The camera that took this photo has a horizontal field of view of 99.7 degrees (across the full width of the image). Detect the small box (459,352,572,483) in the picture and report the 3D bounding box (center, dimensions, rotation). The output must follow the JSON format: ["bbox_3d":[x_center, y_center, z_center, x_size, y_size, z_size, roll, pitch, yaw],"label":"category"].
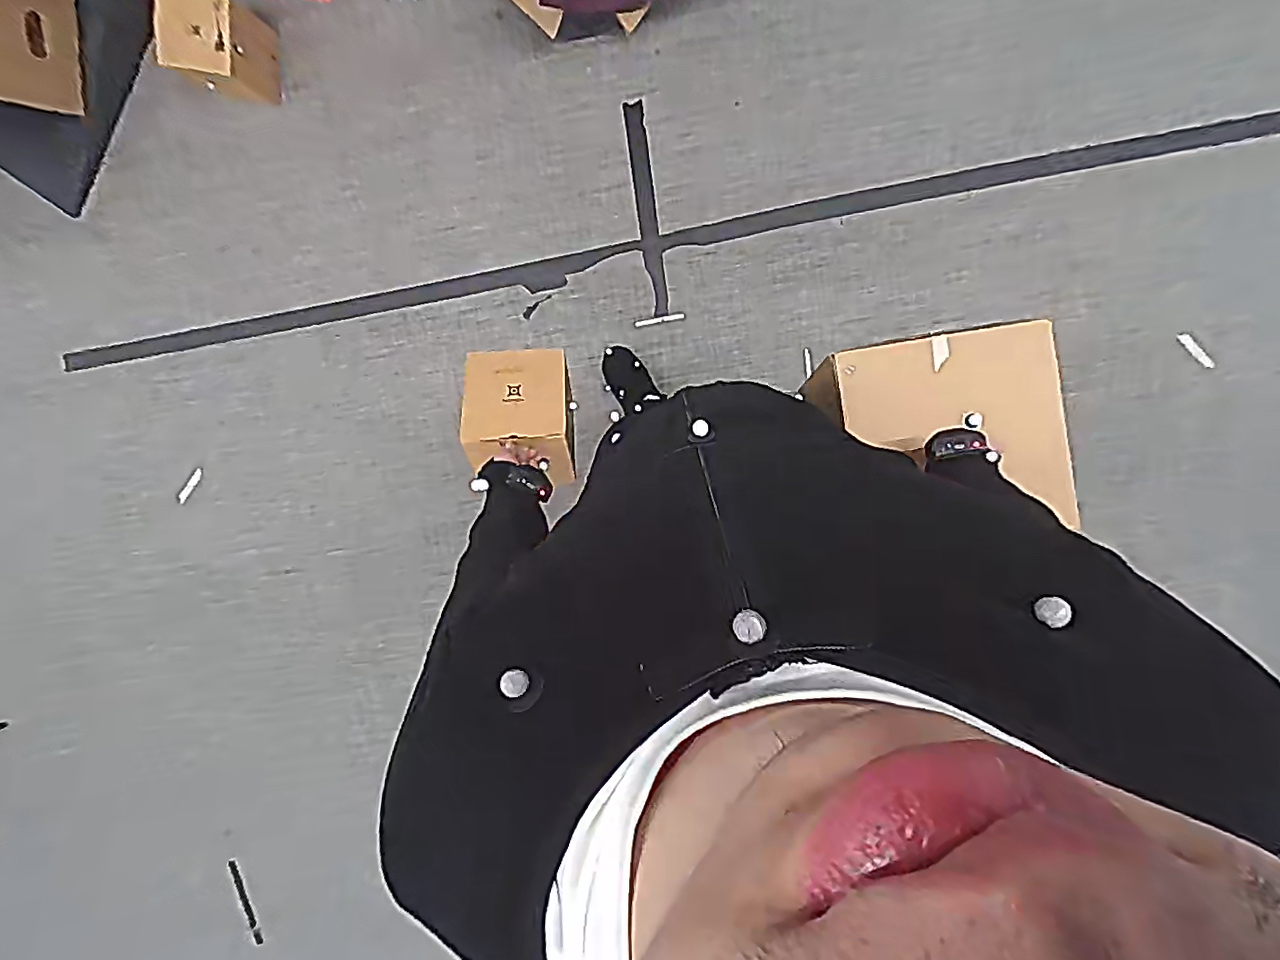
[{"bbox_3d":[-0.210,-0.102,0.957,0.168,0.176,0.179,-3,63,-4],"label":"small box"}]
